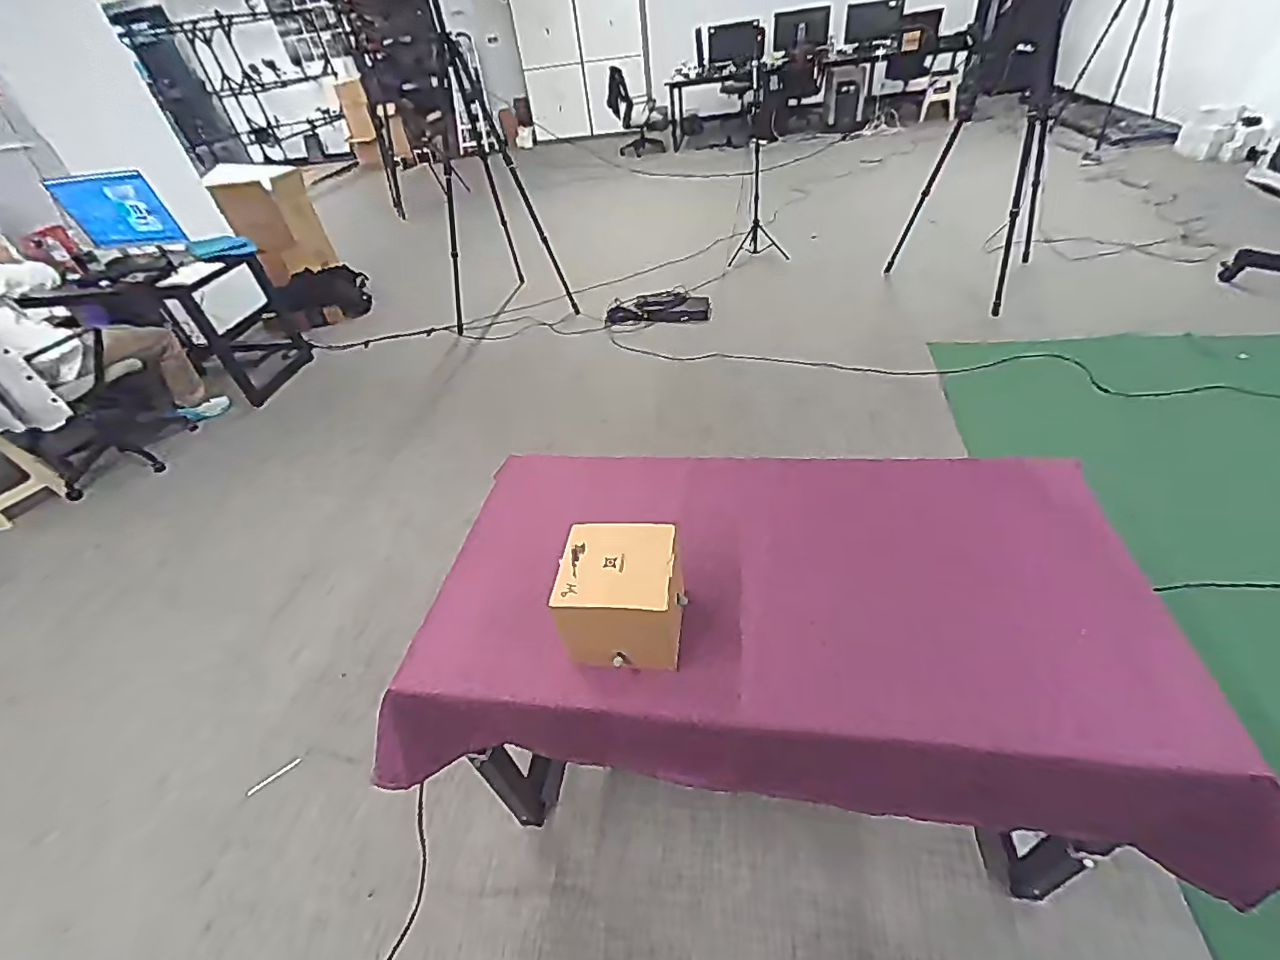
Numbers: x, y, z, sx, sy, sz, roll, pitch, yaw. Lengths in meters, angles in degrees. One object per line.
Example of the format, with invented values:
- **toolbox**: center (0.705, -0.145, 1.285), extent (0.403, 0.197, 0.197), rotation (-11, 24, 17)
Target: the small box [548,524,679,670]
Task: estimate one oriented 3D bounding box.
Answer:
- **small box**: center (-0.030, 0.190, 0.875), extent (0.179, 0.176, 0.168), rotation (0, 42, 9)
